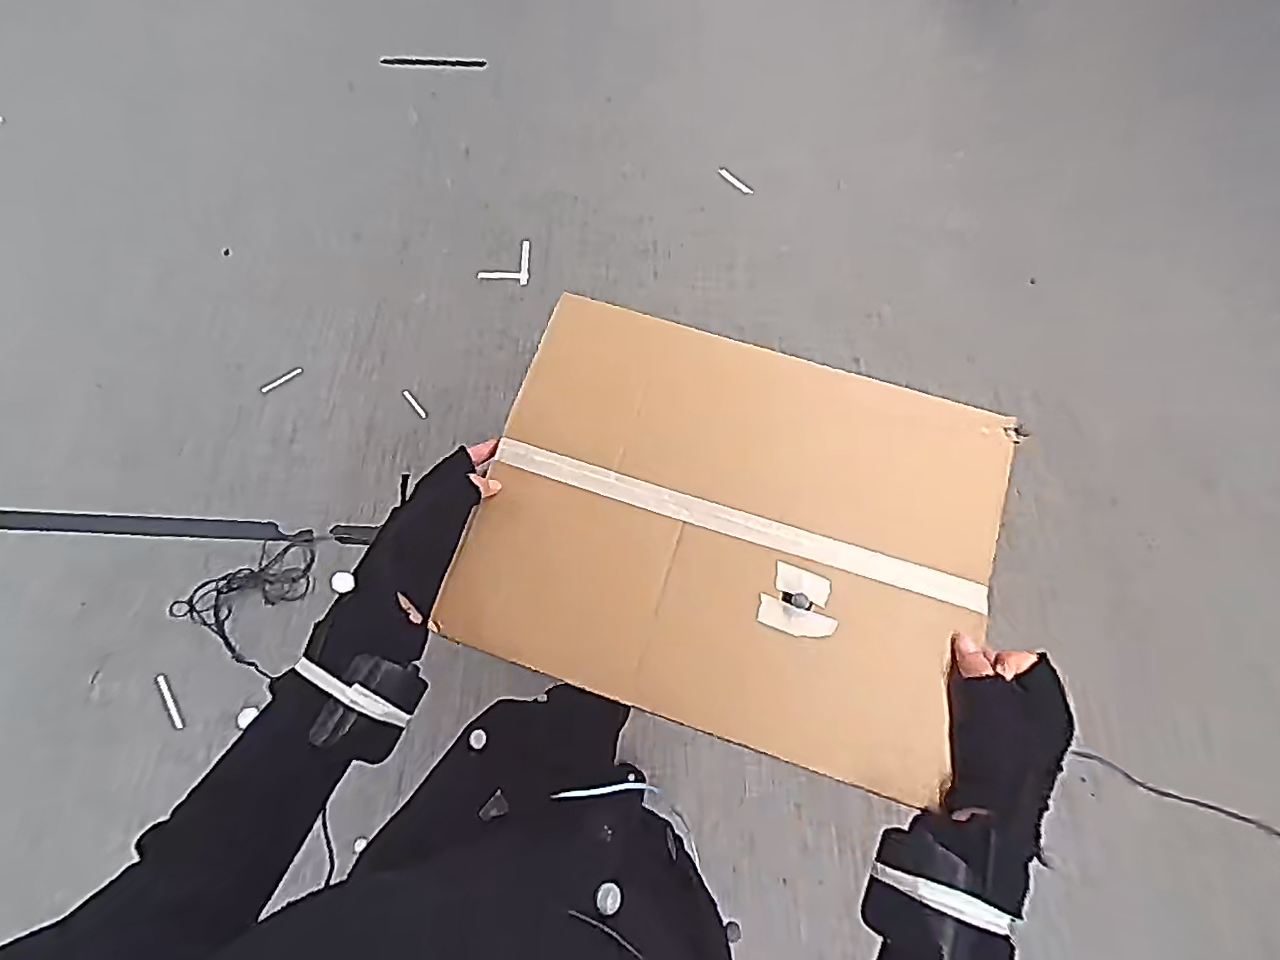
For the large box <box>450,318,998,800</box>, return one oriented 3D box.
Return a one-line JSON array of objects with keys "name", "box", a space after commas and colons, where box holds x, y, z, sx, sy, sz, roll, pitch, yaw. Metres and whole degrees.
[{"name": "large box", "box": [0.079, 0.079, 0.596, 0.408, 0.320, 0.320, 18, 77, 6]}]
